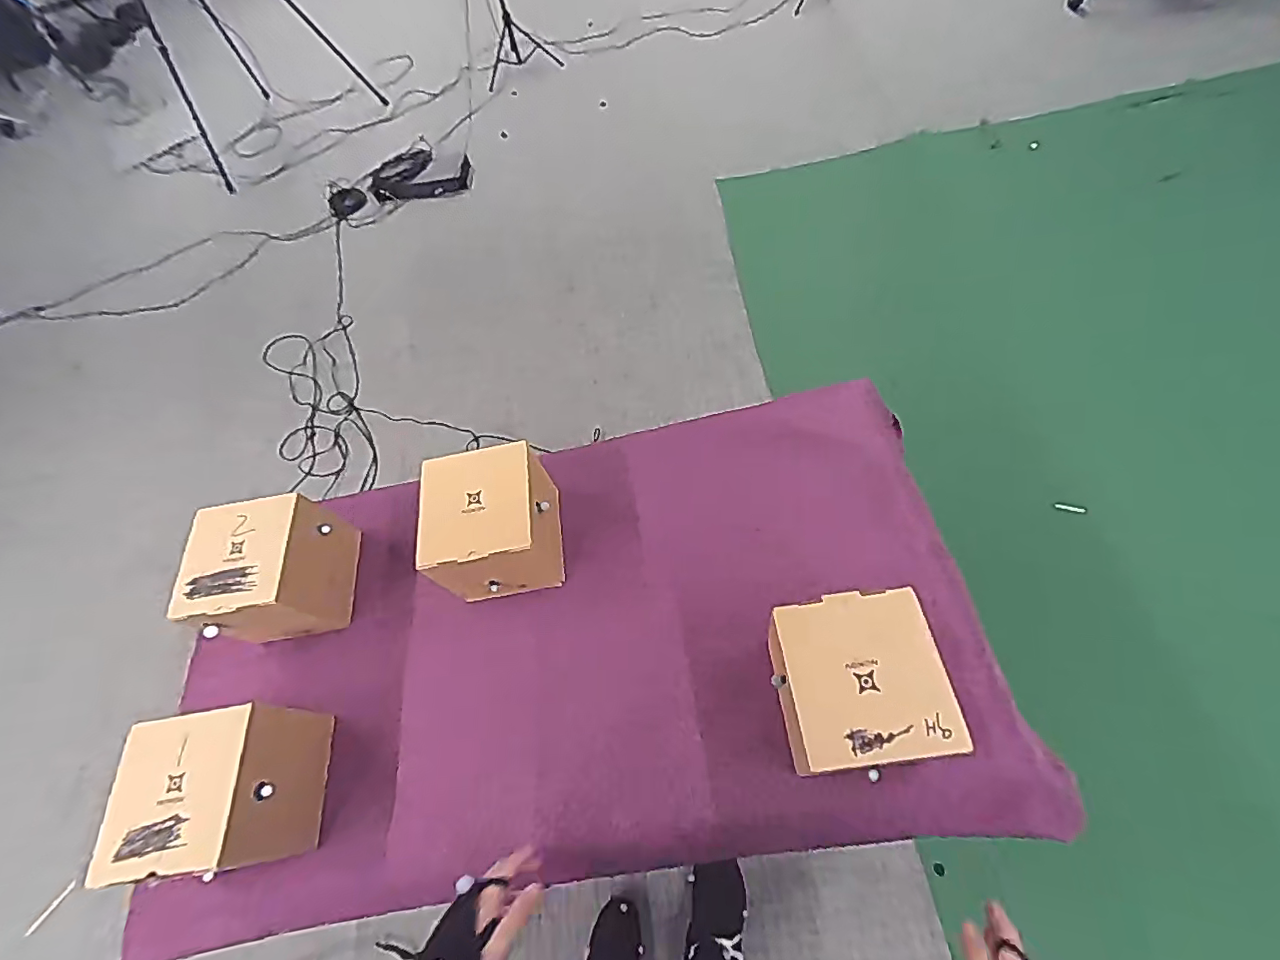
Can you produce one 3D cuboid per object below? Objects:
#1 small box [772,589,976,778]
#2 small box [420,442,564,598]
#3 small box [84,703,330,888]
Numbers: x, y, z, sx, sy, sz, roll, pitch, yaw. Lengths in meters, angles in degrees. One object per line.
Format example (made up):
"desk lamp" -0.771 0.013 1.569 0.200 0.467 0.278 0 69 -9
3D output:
"small box" 0.260 0.252 0.657 0.168 0.176 0.179 -10 58 5
"small box" -0.220 0.068 0.840 0.168 0.176 0.179 -11 62 3
"small box" -0.540 0.404 0.708 0.168 0.176 0.179 -10 60 3
